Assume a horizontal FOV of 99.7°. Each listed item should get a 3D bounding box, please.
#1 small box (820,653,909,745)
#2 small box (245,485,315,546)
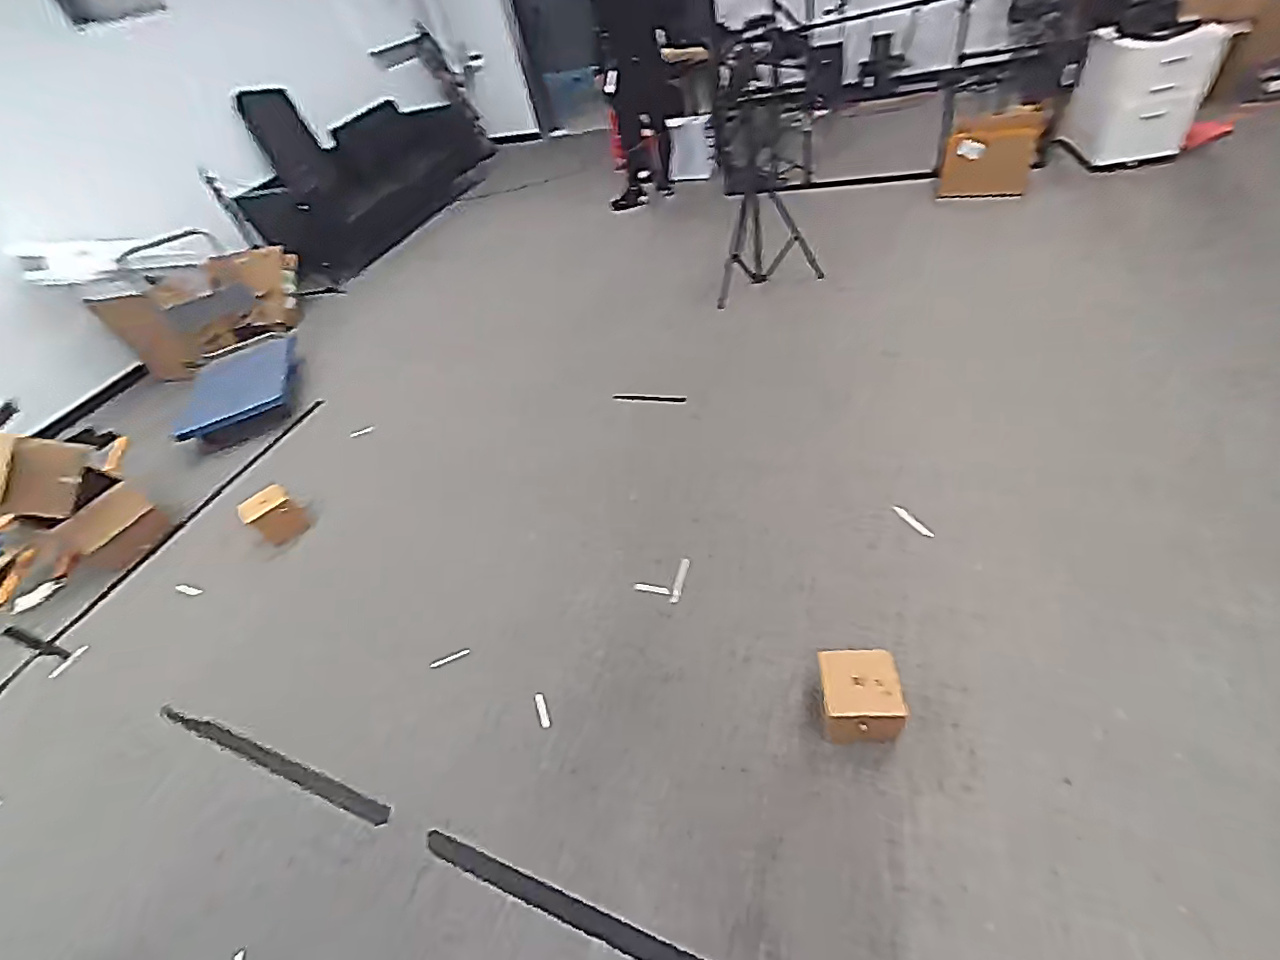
[{"bbox_3d":[0.553,0.550,1.355,0.179,0.176,0.168,-5,45,11],"label":"small box"},{"bbox_3d":[-1.574,0.159,2.368,0.179,0.176,0.168,-40,48,-24],"label":"small box"}]
